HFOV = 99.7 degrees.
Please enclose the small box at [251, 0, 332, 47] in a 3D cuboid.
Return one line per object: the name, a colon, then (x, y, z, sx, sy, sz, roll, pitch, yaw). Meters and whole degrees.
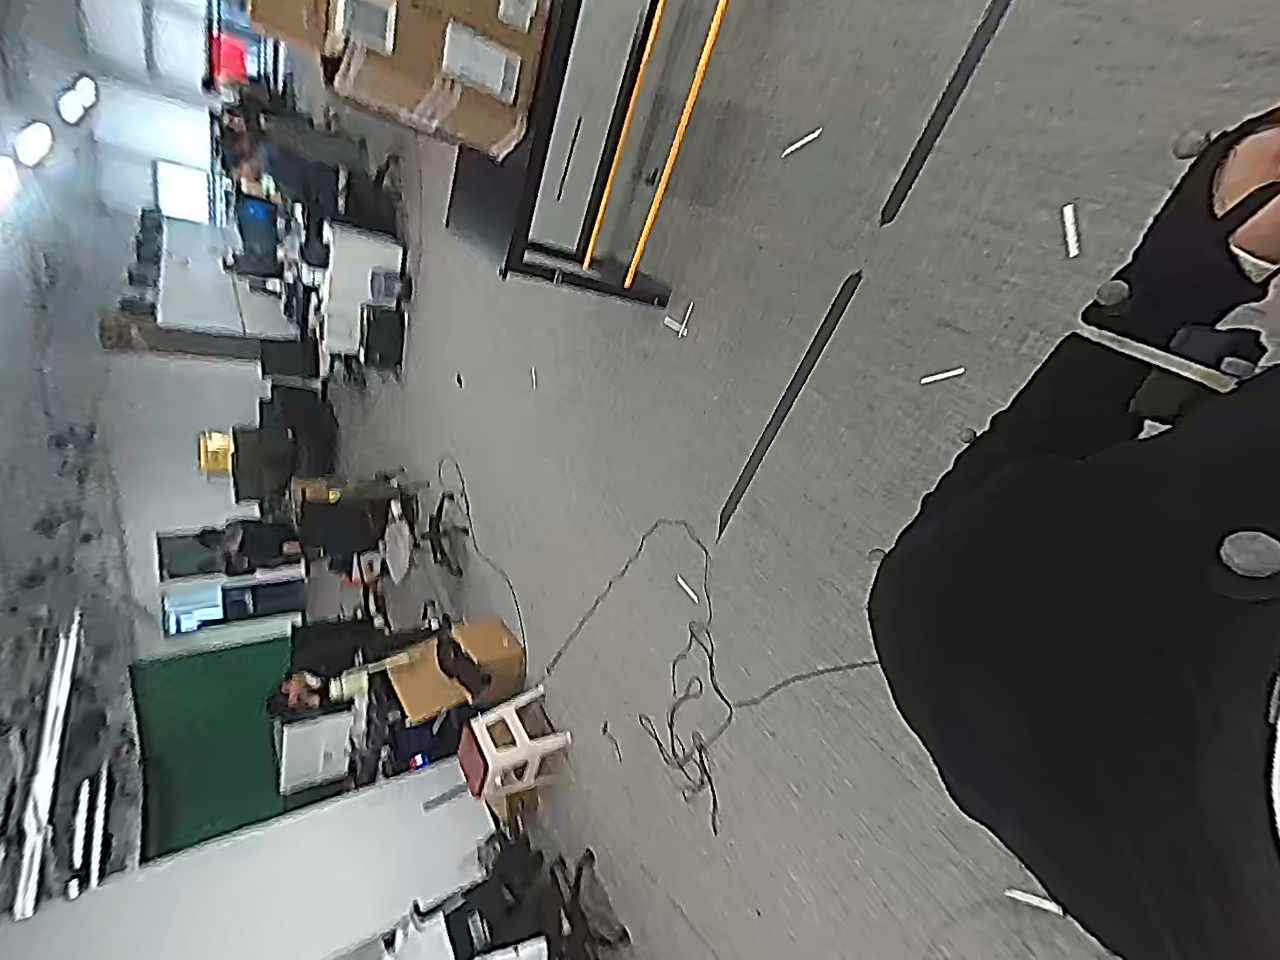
small box: (-0.923, -1.284, 1.431, 0.179, 0.176, 0.168, 42, 122, 44)
